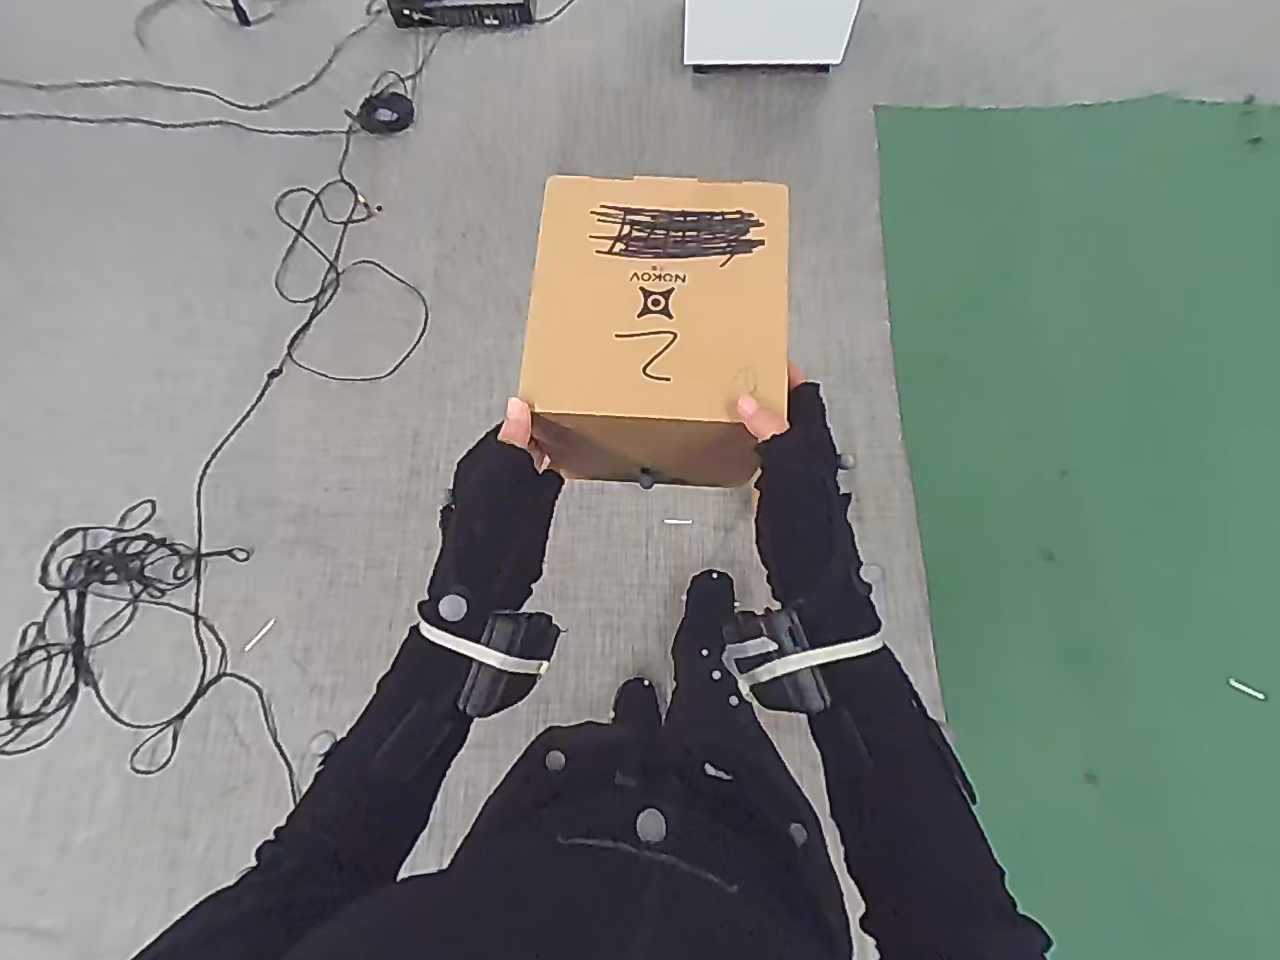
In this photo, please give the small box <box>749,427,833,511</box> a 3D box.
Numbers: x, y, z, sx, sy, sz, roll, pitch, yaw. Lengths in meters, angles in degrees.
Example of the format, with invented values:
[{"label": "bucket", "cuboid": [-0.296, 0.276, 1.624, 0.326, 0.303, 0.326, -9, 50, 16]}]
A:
[{"label": "small box", "cuboid": [0.367, -0.021, 1.337, 0.168, 0.176, 0.179, 0, 74, 2]}]
